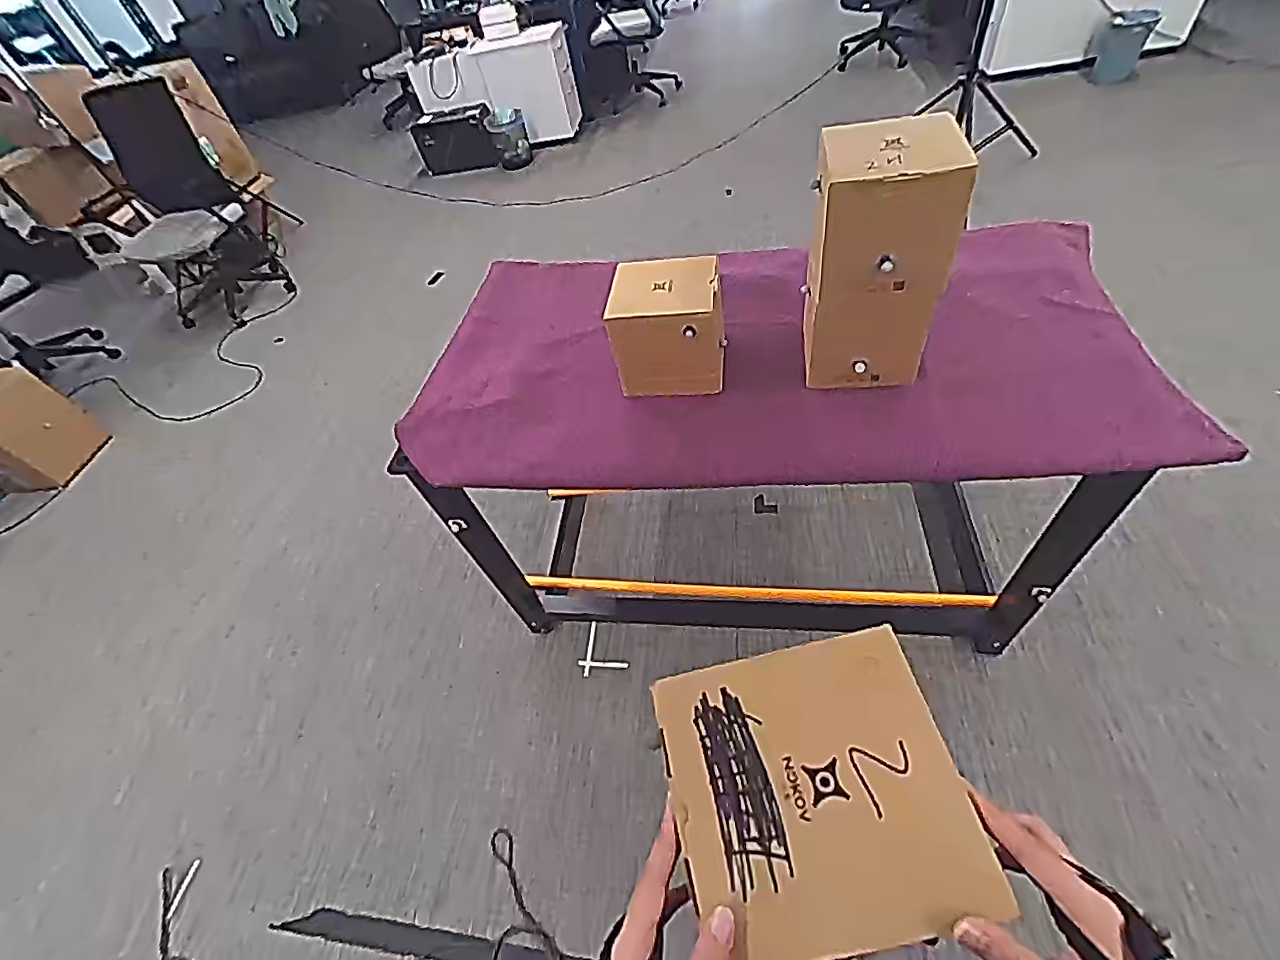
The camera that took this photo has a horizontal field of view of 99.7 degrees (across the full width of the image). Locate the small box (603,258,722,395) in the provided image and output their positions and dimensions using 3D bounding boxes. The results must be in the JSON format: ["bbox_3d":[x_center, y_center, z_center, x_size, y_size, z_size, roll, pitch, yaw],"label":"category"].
[{"bbox_3d":[0.048,-0.262,0.945,0.179,0.176,0.168,0,51,11],"label":"small box"}]

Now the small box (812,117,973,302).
[{"bbox_3d":[0.333,-0.372,0.754,0.168,0.176,0.179,0,51,14],"label":"small box"}]

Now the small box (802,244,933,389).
[{"bbox_3d":[0.355,-0.268,0.881,0.168,0.176,0.179,0,52,13],"label":"small box"}]
